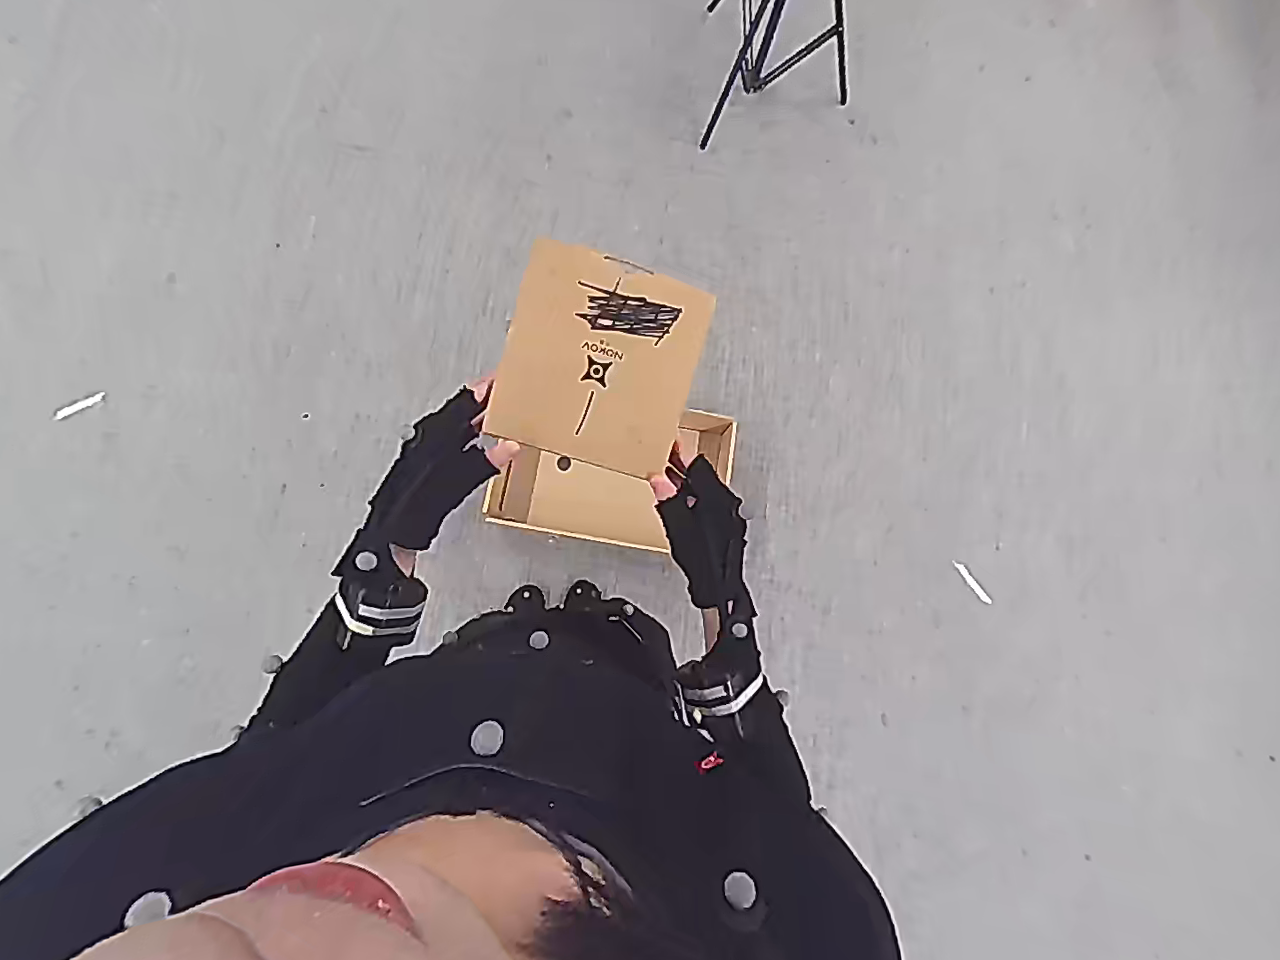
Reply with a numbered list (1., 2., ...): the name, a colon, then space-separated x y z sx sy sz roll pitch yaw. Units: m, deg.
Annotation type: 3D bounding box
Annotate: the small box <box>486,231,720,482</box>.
1. small box: -0.041 -0.108 0.541 0.168 0.176 0.179 16 92 -9
